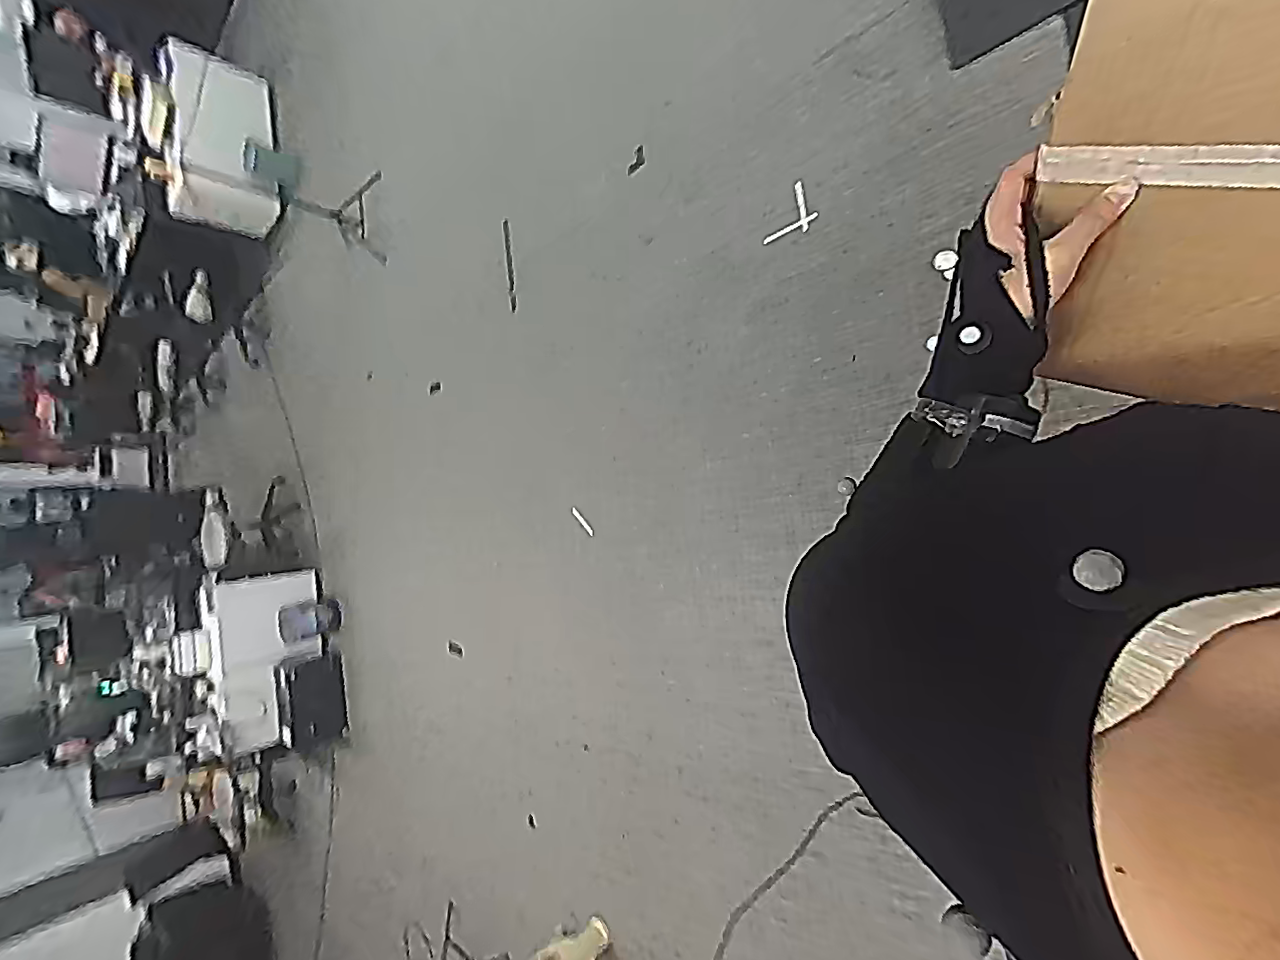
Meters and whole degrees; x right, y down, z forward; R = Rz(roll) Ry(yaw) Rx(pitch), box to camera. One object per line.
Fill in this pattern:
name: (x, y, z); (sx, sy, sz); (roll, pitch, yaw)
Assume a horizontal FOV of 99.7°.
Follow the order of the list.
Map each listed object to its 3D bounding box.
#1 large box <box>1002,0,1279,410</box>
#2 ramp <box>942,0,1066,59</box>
large box: (0.511, -0.238, 0.314); (0.408, 0.320, 0.320); (24, 145, 37)
ramp: (0.766, -1.457, 1.030); (0.509, 0.206, 0.991); (-14, 84, 39)
